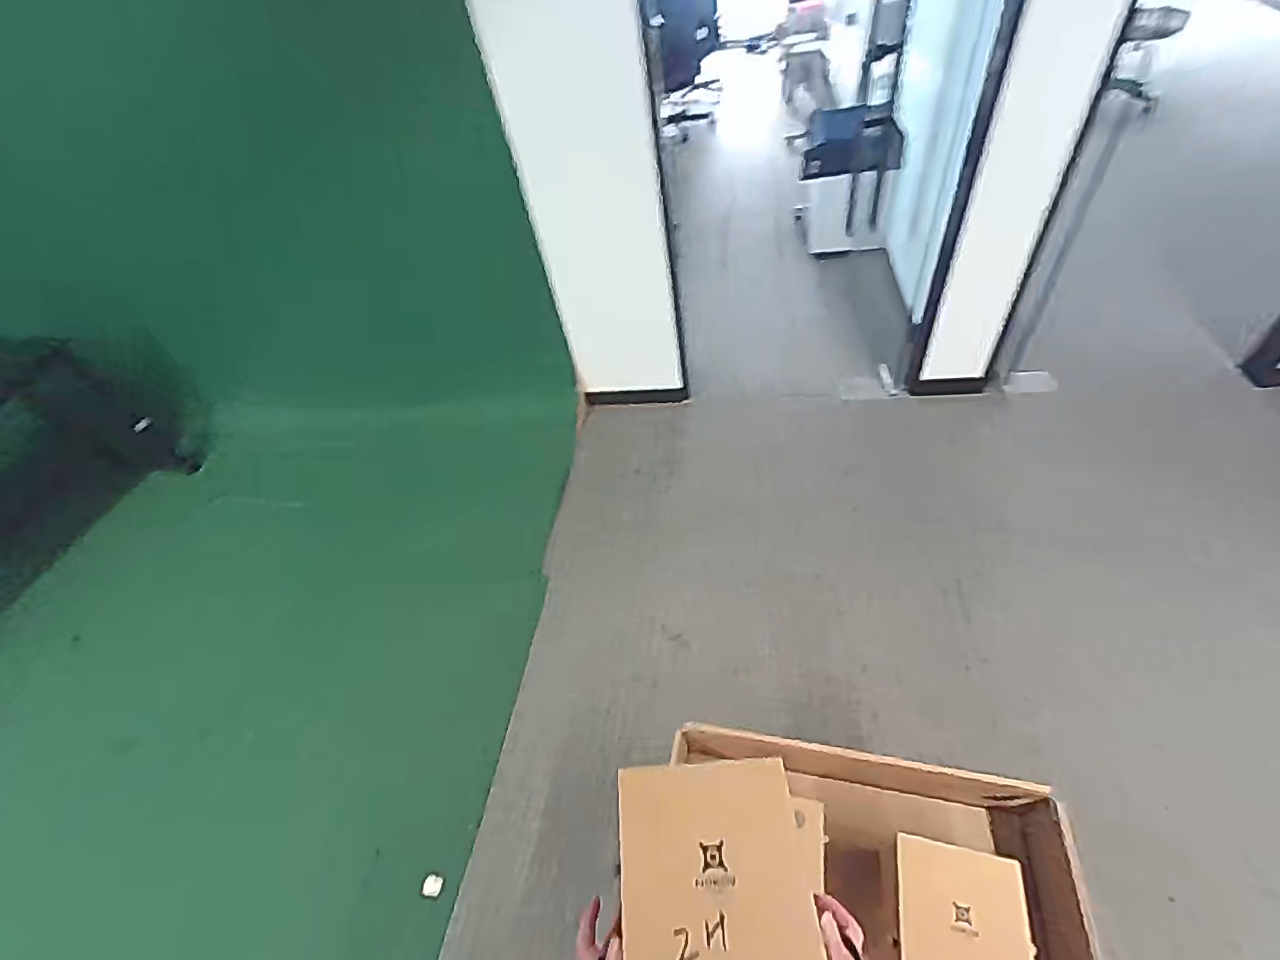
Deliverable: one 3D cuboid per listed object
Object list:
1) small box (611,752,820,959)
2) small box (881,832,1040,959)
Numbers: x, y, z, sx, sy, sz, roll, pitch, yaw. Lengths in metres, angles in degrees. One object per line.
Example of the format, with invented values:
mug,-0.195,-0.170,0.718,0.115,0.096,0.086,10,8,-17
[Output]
small box,0.059,0.387,0.521,0.168,0.176,0.179,-4,46,0
small box,0.458,0.652,0.795,0.168,0.176,0.179,5,51,16
